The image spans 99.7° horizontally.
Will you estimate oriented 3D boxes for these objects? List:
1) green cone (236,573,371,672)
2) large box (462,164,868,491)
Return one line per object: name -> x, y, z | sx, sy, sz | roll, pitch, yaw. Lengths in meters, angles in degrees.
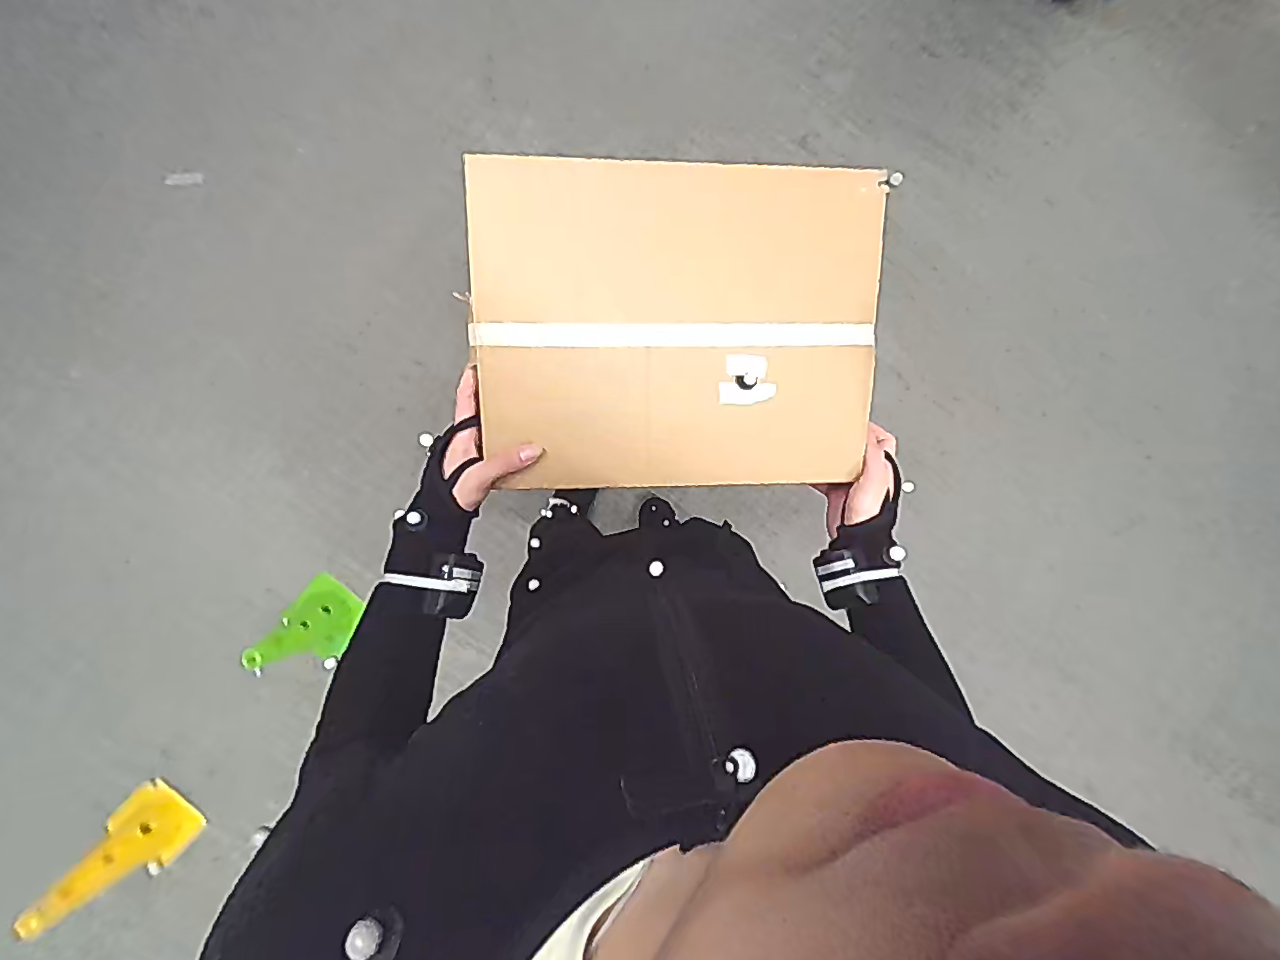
green cone -> -0.901, 0.402, 1.394 | 0.200, 0.368, 0.202 | 41, 89, -4
large box -> 0.019, -0.180, 0.693 | 0.408, 0.320, 0.320 | -3, 103, -6
